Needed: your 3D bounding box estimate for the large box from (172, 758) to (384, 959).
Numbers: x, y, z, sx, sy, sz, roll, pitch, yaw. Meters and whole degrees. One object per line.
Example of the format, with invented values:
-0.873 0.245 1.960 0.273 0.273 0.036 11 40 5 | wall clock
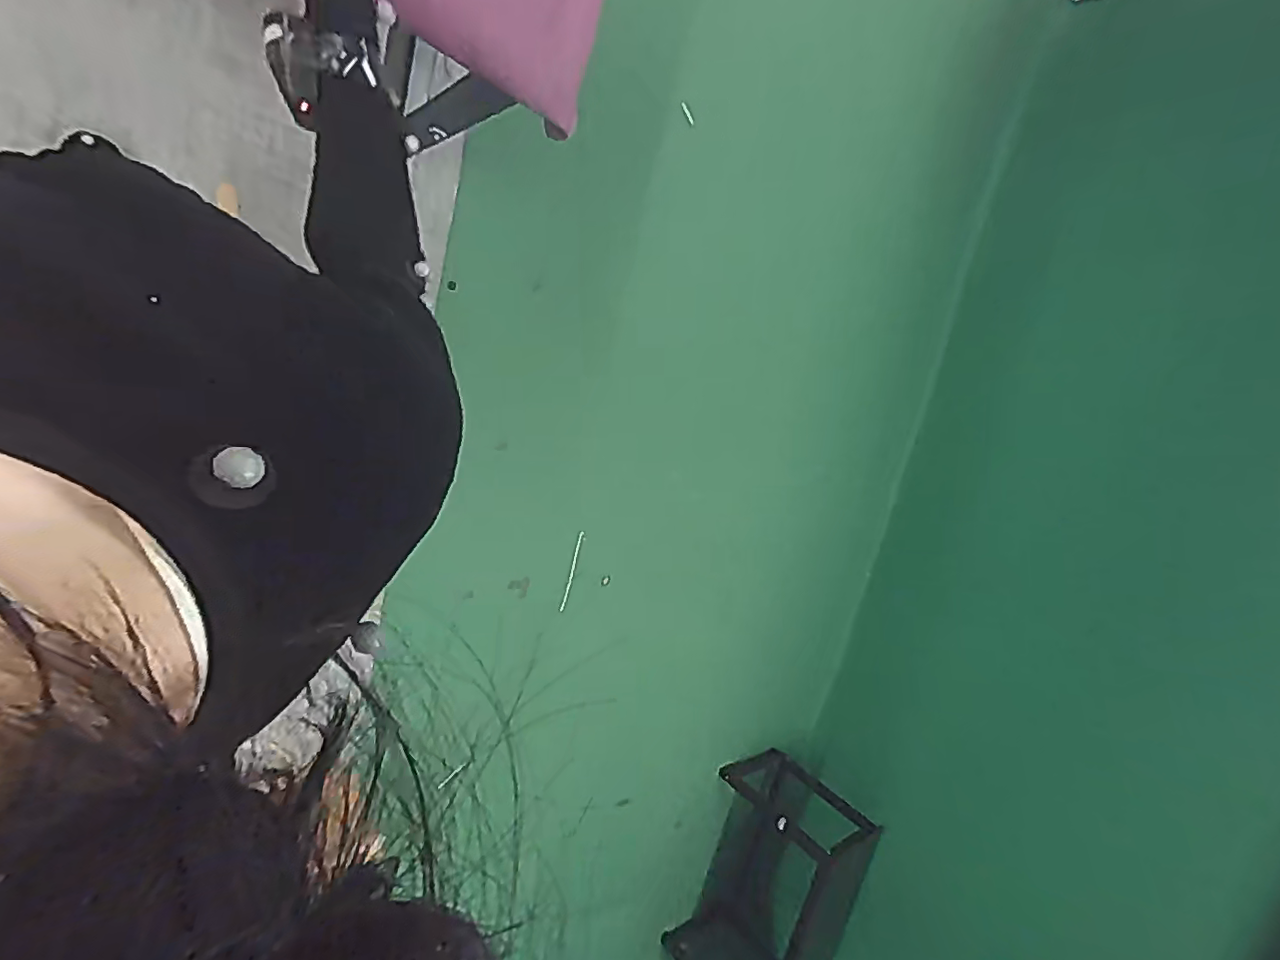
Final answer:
-0.964 1.054 1.459 0.408 0.320 0.320 -13 115 -40 | large box
